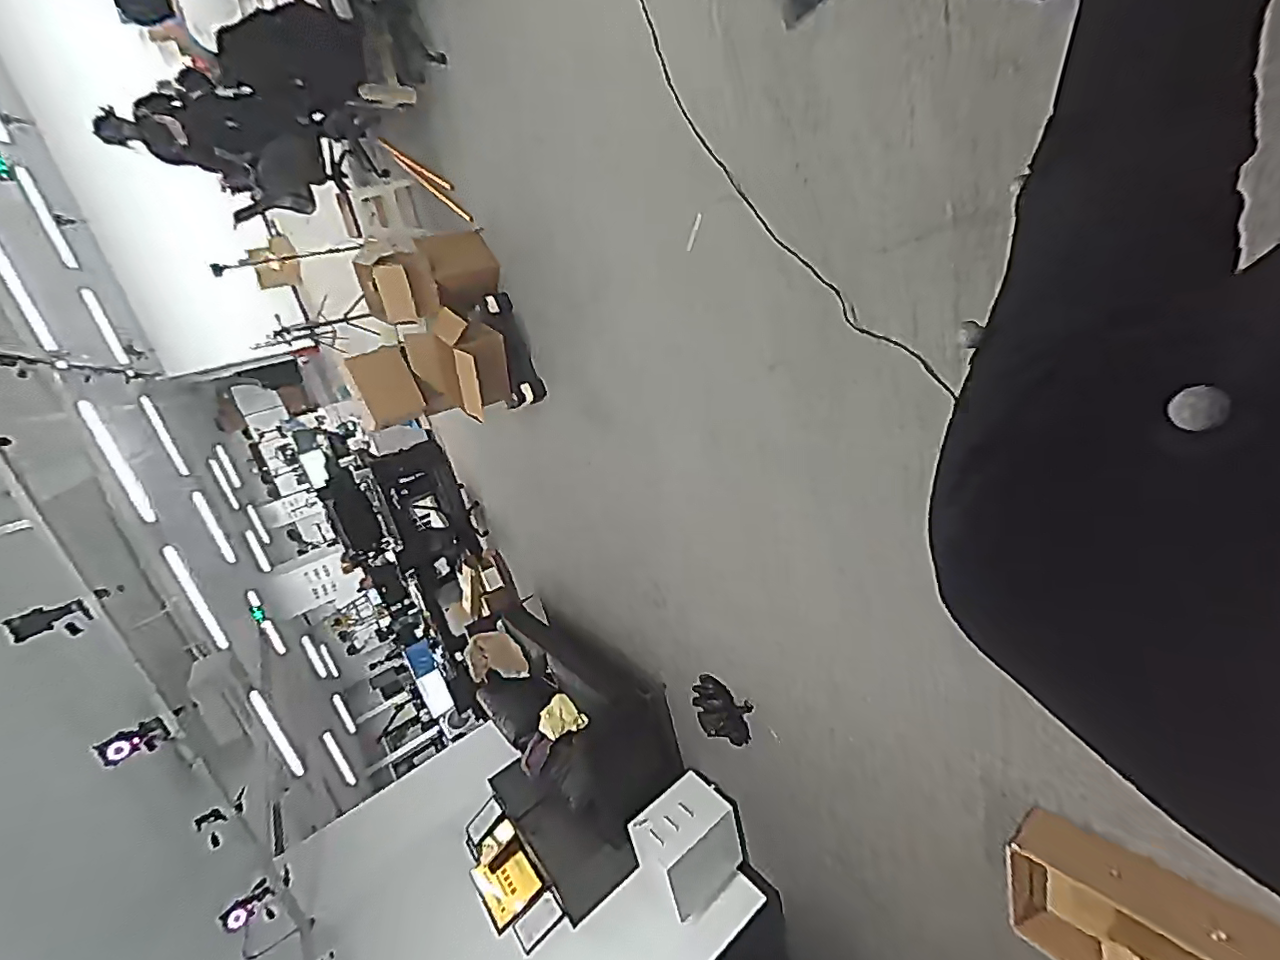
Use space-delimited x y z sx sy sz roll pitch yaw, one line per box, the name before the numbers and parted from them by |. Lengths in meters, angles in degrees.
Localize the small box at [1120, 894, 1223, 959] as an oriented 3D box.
small box | 1.399 1.259 1.425 0.168 0.176 0.179 11 122 55
